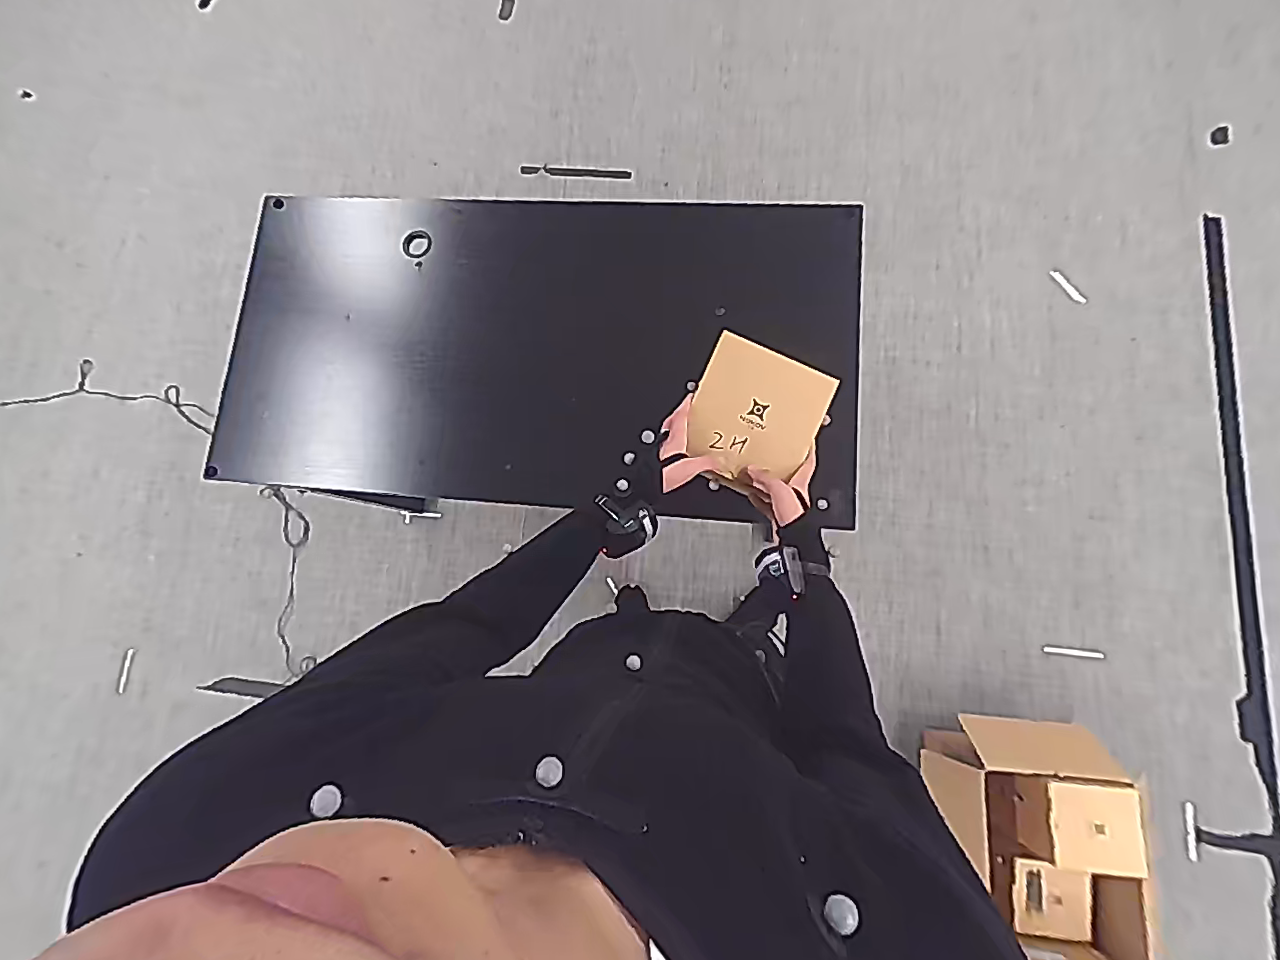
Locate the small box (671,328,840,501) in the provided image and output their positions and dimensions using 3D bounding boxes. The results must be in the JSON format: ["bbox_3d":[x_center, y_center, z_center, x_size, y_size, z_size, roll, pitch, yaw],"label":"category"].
[{"bbox_3d":[0.149,-0.083,0.771,0.168,0.176,0.179,25,90,2],"label":"small box"}]
